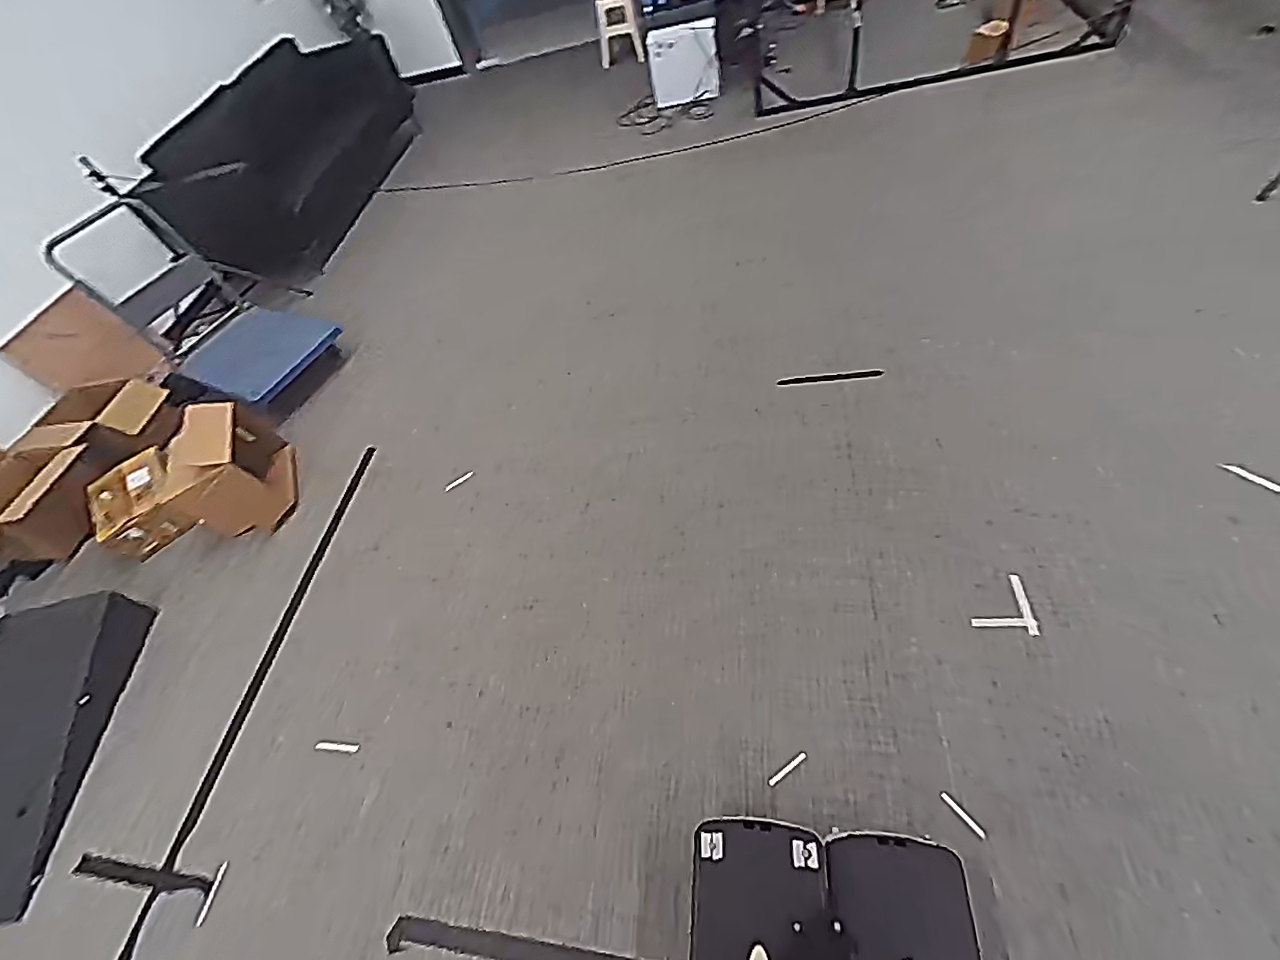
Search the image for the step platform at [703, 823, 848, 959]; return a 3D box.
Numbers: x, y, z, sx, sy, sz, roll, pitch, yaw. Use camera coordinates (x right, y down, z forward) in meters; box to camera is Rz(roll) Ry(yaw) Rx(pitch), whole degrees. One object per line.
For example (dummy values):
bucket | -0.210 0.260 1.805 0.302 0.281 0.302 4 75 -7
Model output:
step platform | 0.267 1.074 1.055 0.286 0.204 0.684 -3 53 13
